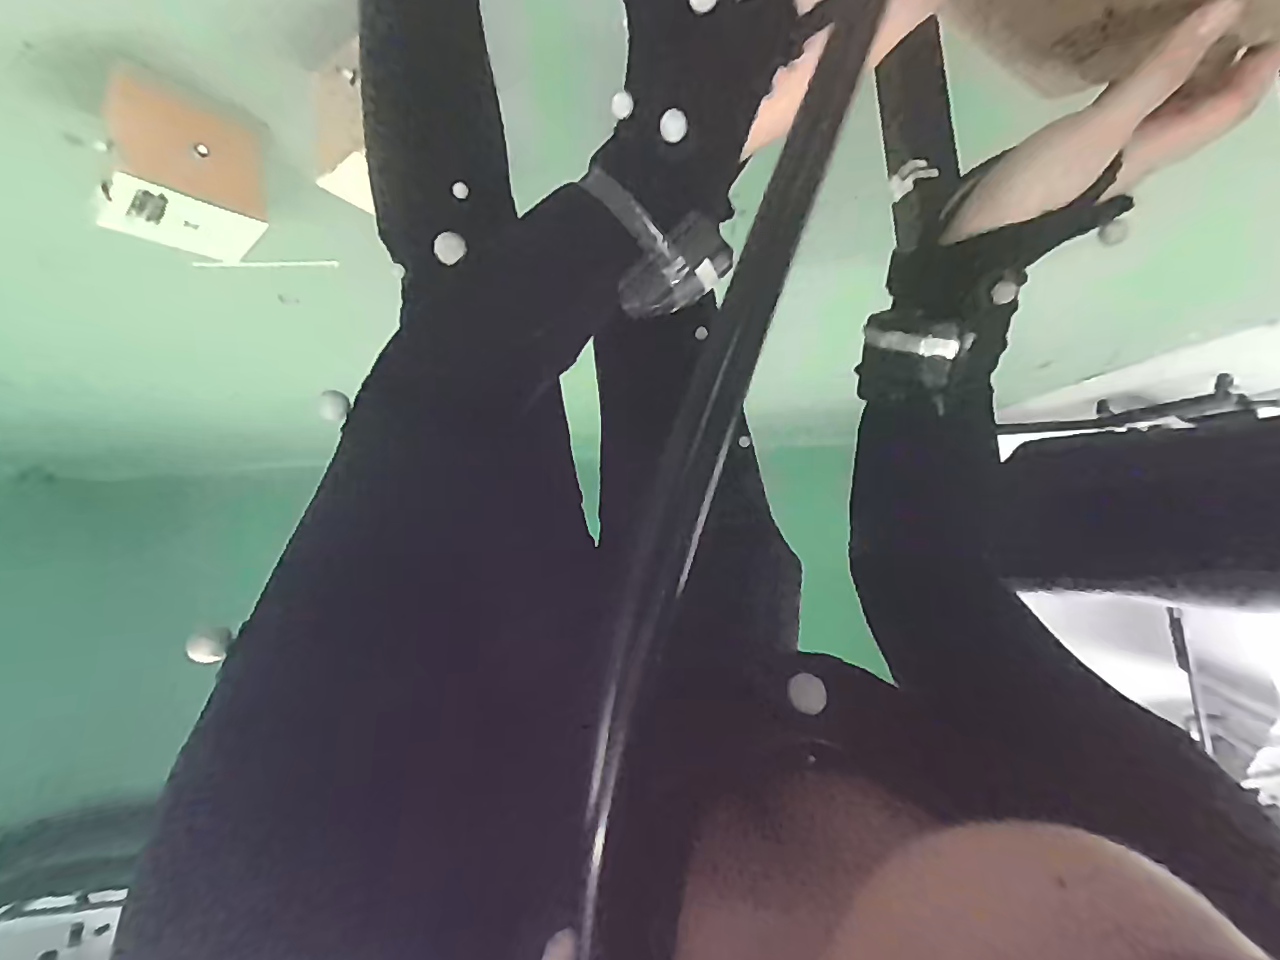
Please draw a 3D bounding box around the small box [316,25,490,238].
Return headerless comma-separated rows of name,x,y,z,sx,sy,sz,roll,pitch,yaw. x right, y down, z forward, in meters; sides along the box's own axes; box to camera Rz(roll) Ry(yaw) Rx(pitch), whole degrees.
small box,-0.342,-0.495,0.793,0.168,0.176,0.179,-7,172,30
